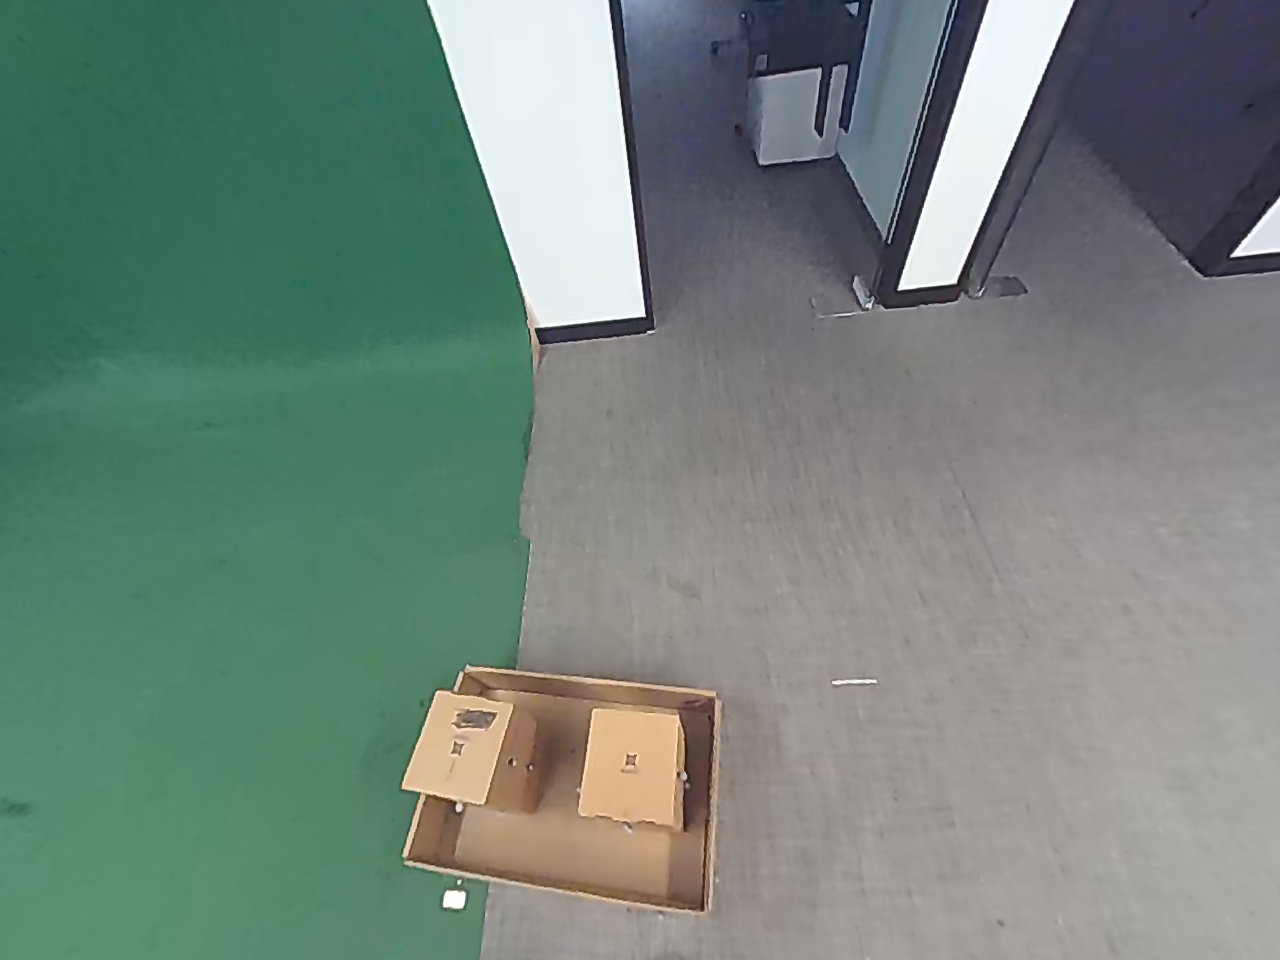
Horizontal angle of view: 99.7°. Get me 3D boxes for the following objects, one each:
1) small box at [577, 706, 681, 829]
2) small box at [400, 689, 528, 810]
[{"bbox_3d":[-0.011,0.546,1.024,0.168,0.176,0.179,2,56,9],"label":"small box"},{"bbox_3d":[-0.333,0.536,1.071,0.168,0.176,0.179,6,57,10],"label":"small box"}]
